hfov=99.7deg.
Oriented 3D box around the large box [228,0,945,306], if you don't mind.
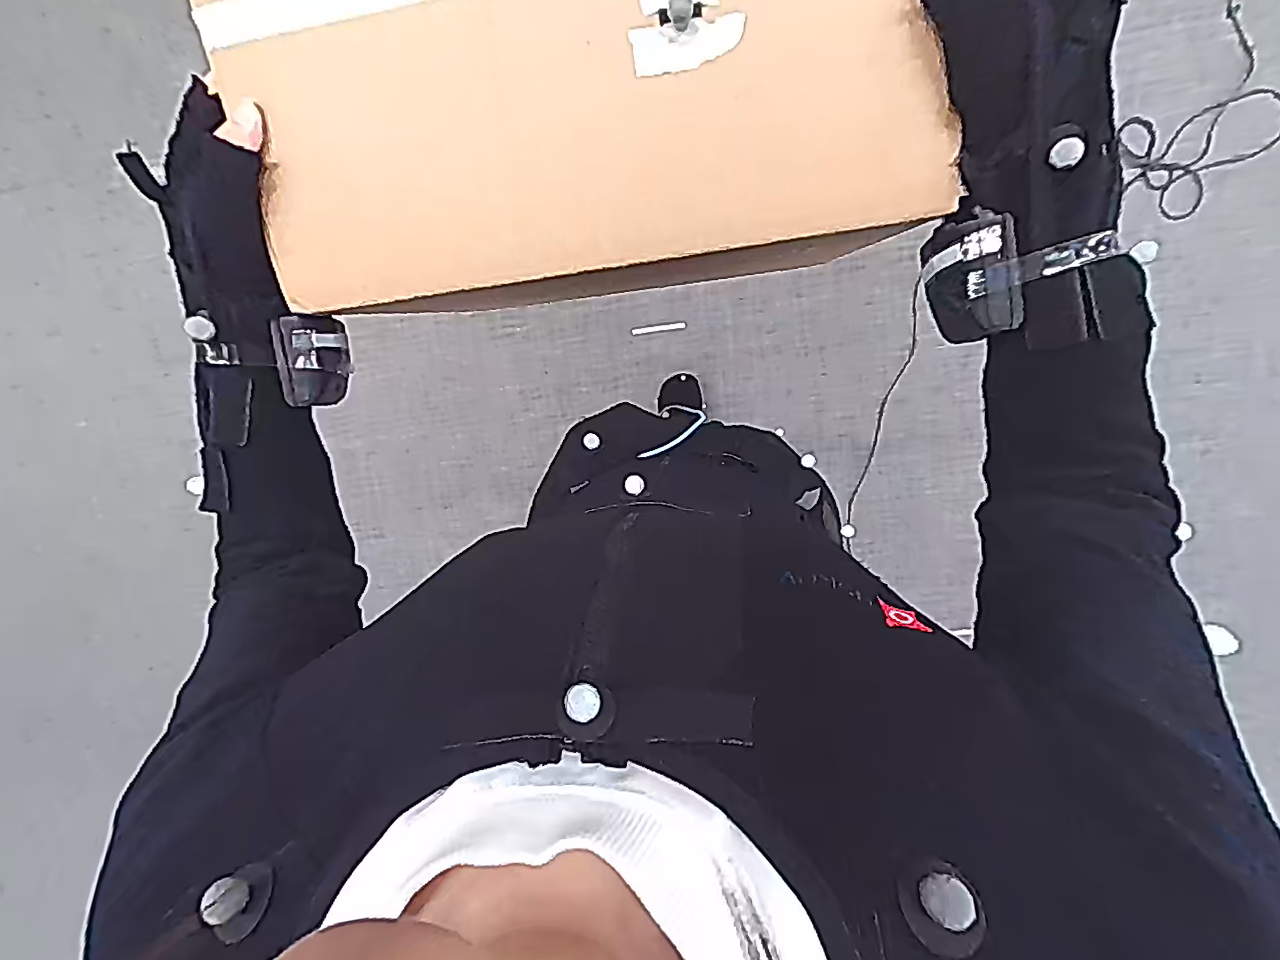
[{"bbox_3d":[-0.031,-0.330,0.434,0.408,0.320,0.320,-6,108,8],"label":"large box"}]
